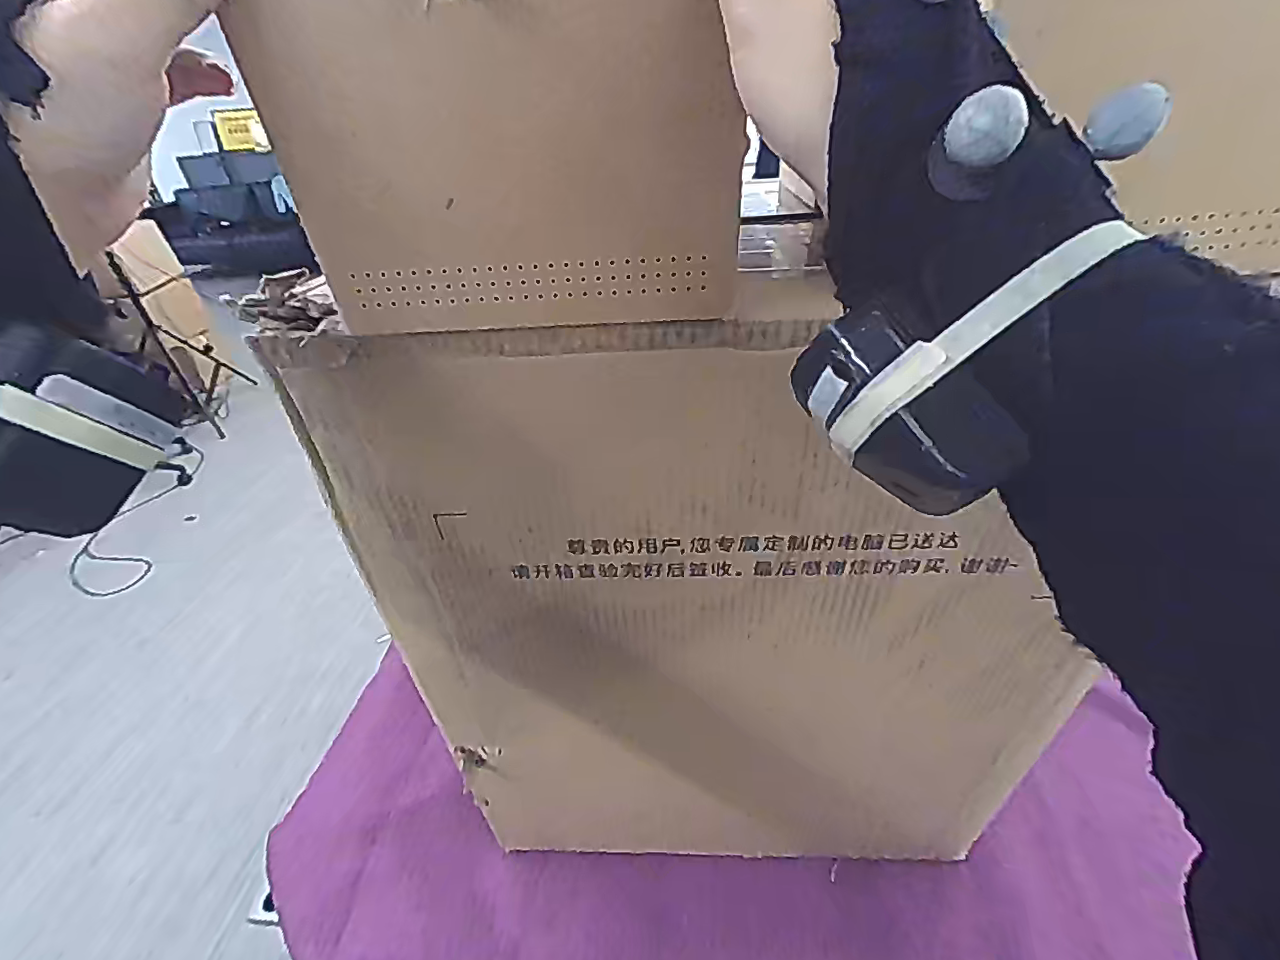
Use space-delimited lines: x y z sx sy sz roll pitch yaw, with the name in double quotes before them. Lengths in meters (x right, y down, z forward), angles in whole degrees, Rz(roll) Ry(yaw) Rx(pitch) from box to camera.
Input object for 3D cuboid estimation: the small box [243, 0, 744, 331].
"small box" -0.050 -0.182 0.254 0.179 0.176 0.168 -5 41 0
